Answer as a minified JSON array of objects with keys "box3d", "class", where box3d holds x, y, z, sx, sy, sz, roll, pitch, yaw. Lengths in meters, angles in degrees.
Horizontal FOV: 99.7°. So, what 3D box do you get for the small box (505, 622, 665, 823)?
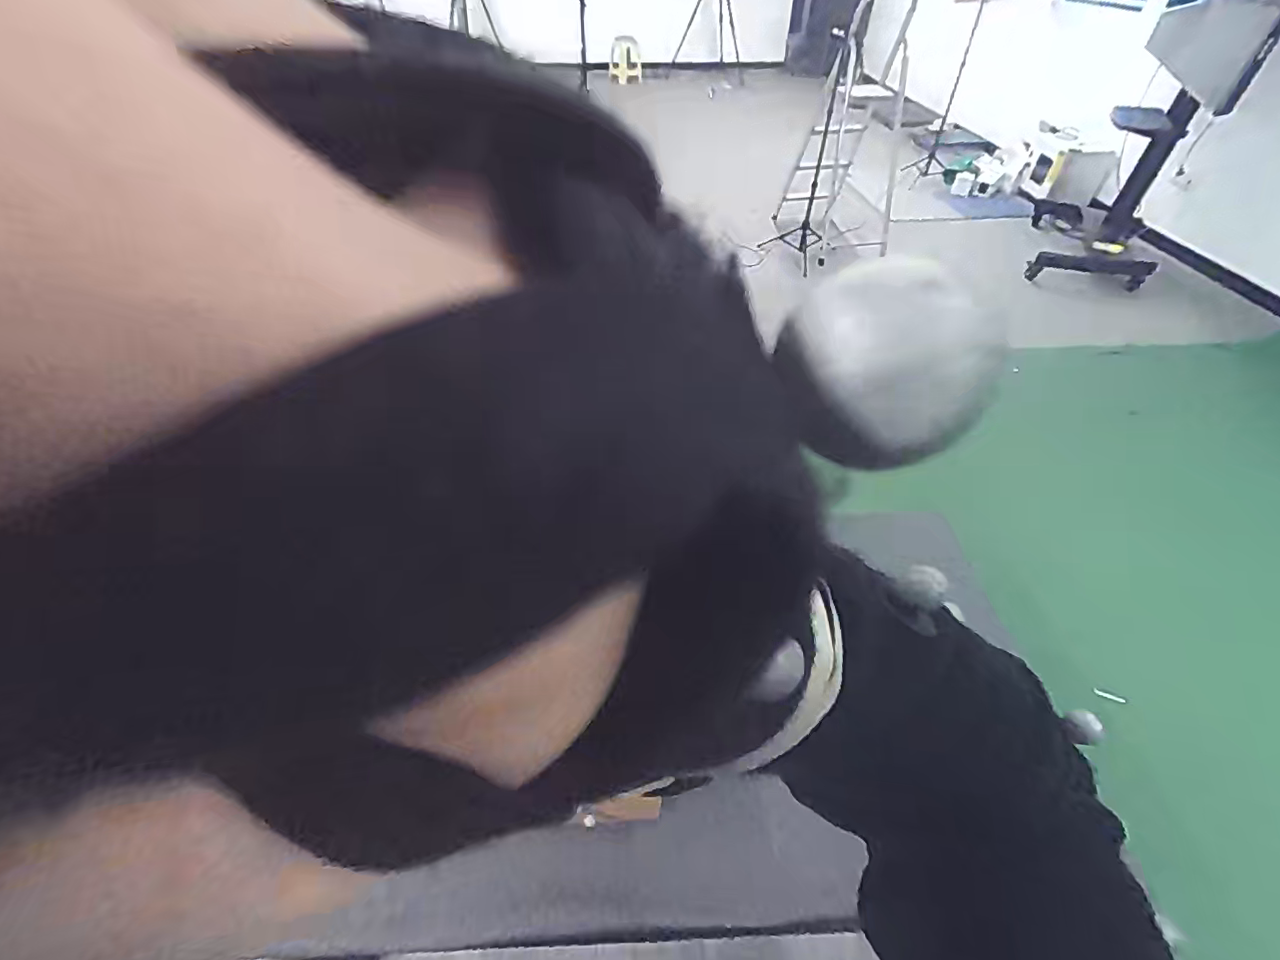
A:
[{"box3d":[-0.060,0.296,0.664,0.168,0.176,0.179,-2,45,-2],"class":"small box"}]
